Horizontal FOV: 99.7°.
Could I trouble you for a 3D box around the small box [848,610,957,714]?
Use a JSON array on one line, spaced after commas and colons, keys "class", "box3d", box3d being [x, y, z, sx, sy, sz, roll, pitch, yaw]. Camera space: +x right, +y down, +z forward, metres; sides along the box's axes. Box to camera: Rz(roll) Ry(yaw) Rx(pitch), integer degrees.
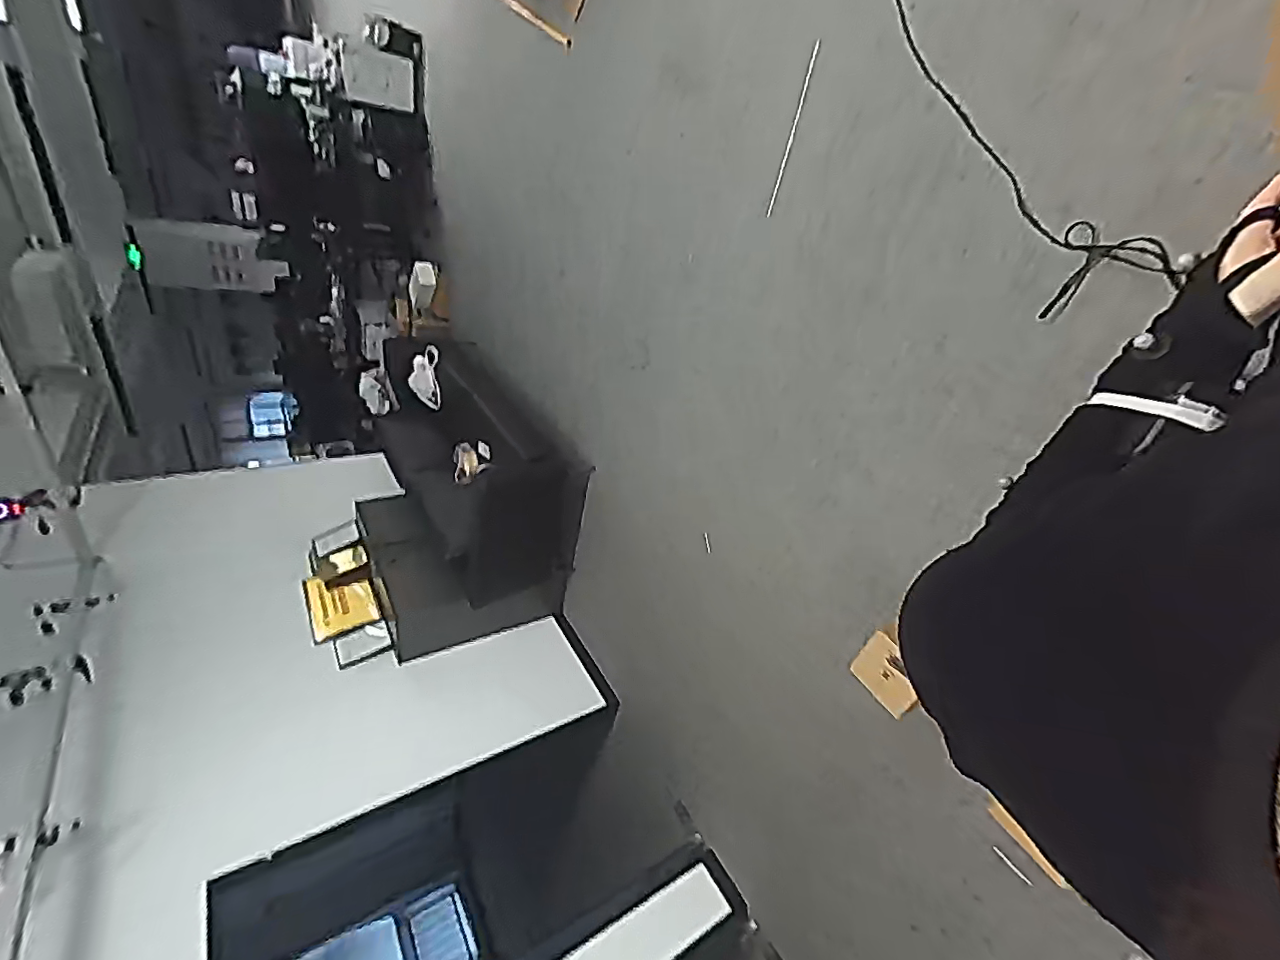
[{"class": "small box", "box3d": [0.697, 0.473, 1.429, 0.168, 0.176, 0.179, 49, 137, 38]}]
